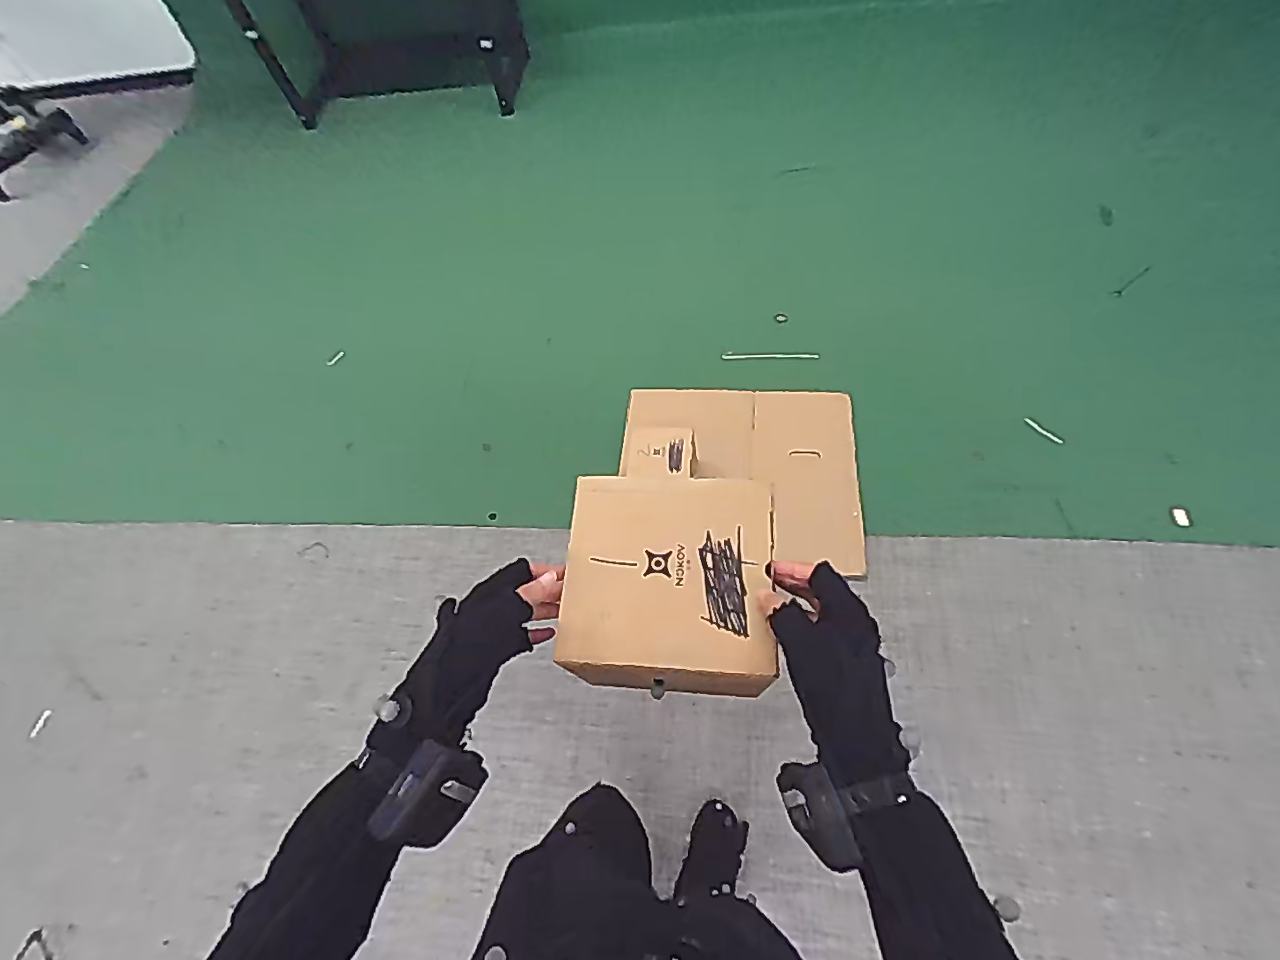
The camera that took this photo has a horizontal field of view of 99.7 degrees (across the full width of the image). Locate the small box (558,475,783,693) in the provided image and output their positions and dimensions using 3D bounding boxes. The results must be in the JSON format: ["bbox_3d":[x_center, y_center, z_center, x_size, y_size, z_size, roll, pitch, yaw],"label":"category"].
[{"bbox_3d":[0.035,0.107,0.520,0.179,0.176,0.168,1,63,8],"label":"small box"}]
